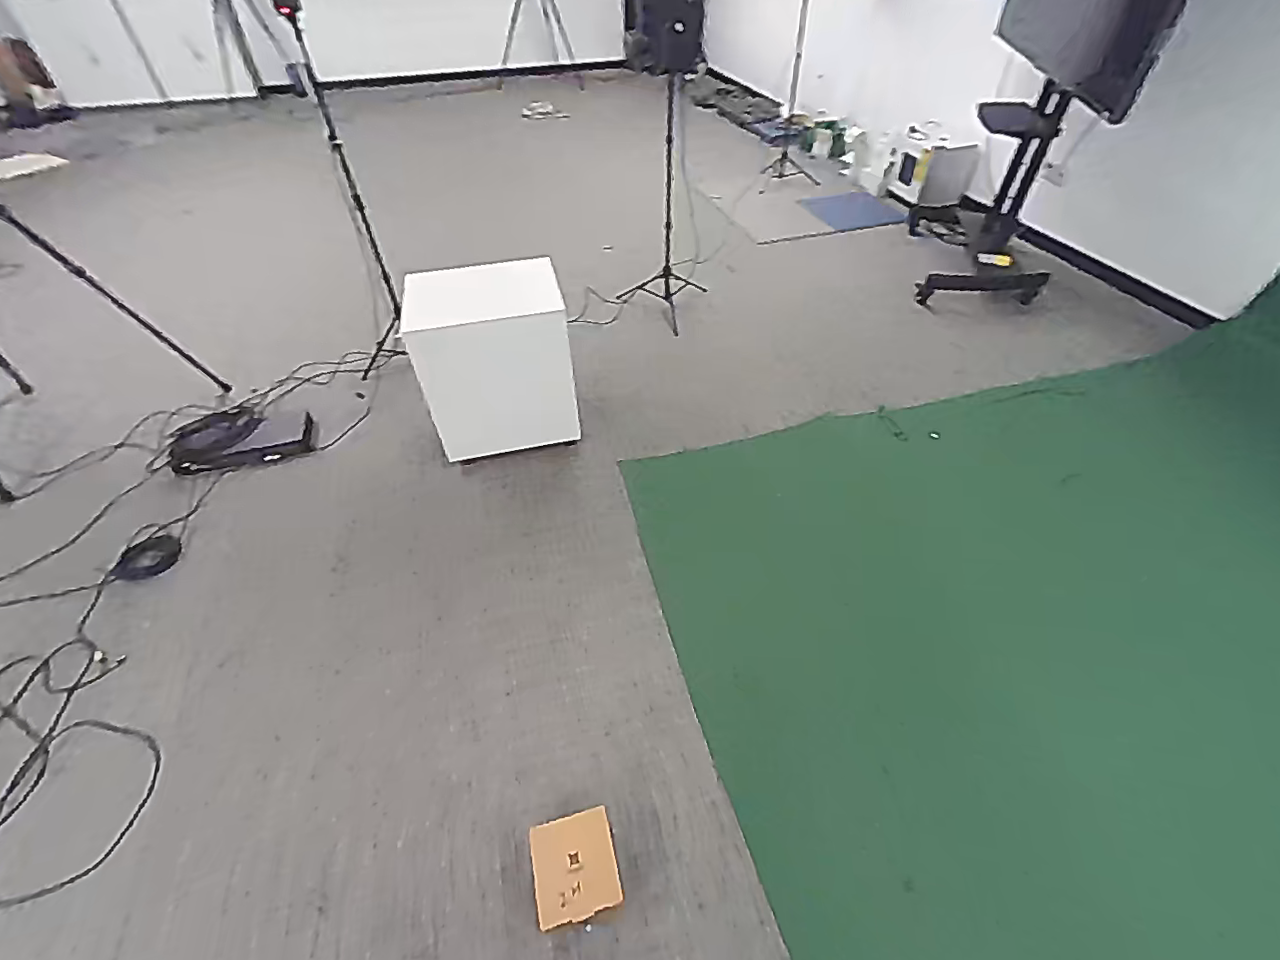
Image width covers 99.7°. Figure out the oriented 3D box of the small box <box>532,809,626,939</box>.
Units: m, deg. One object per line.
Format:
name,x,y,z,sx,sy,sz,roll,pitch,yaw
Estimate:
small box,-0.129,0.839,1.152,0.168,0.176,0.179,-12,48,-10
